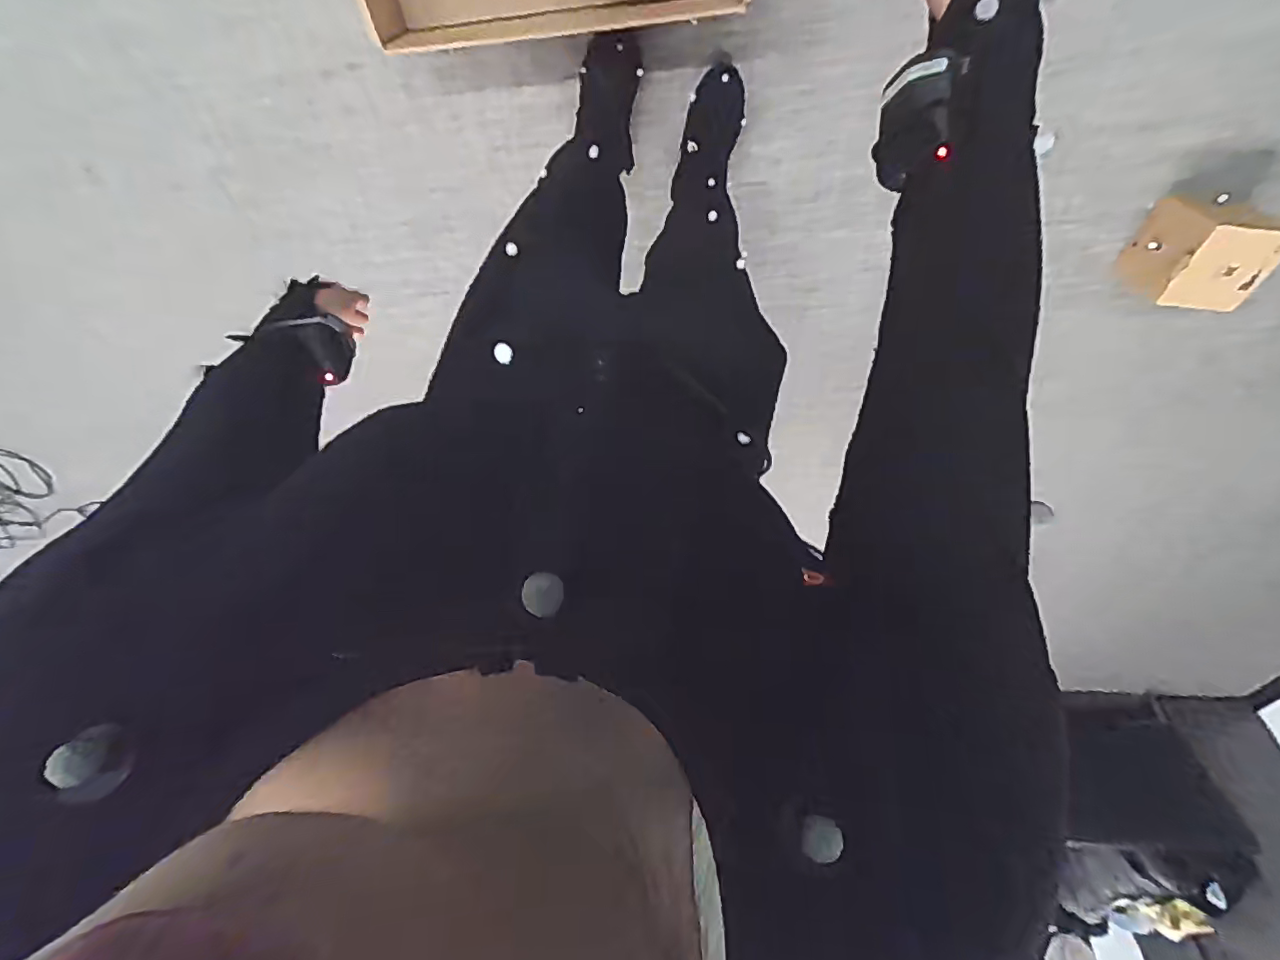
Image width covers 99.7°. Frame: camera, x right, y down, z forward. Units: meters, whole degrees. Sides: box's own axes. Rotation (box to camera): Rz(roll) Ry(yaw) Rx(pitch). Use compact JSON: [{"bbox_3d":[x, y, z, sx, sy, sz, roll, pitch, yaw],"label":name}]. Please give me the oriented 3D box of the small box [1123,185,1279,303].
[{"bbox_3d":[1.174,-0.491,1.119,0.179,0.176,0.168,6,138,0],"label":"small box"}]
